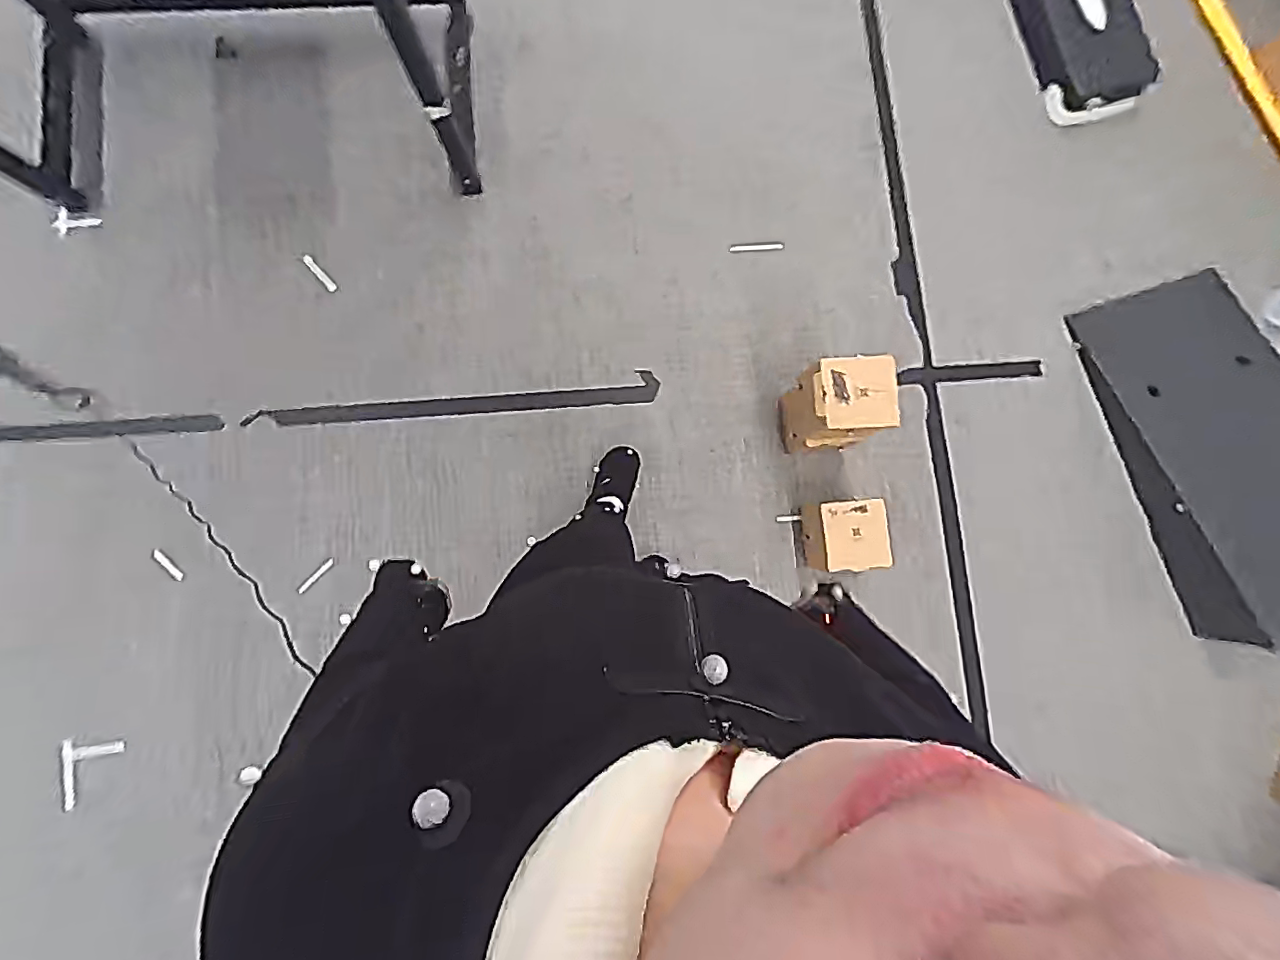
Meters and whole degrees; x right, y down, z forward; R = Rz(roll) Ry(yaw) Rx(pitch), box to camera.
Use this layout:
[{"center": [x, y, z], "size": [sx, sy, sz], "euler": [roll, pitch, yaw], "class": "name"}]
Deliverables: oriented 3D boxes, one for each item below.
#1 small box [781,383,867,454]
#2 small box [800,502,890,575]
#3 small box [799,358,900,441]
[{"center": [0.492, -0.165, 1.463], "size": [0.168, 0.176, 0.179], "euler": [-6, 85, -2], "class": "small box"}, {"center": [0.538, 0.151, 1.437], "size": [0.168, 0.176, 0.179], "euler": [-4, 86, -2], "class": "small box"}, {"center": [0.493, -0.188, 1.300], "size": [0.179, 0.176, 0.168], "euler": [-3, 86, -3], "class": "small box"}]
